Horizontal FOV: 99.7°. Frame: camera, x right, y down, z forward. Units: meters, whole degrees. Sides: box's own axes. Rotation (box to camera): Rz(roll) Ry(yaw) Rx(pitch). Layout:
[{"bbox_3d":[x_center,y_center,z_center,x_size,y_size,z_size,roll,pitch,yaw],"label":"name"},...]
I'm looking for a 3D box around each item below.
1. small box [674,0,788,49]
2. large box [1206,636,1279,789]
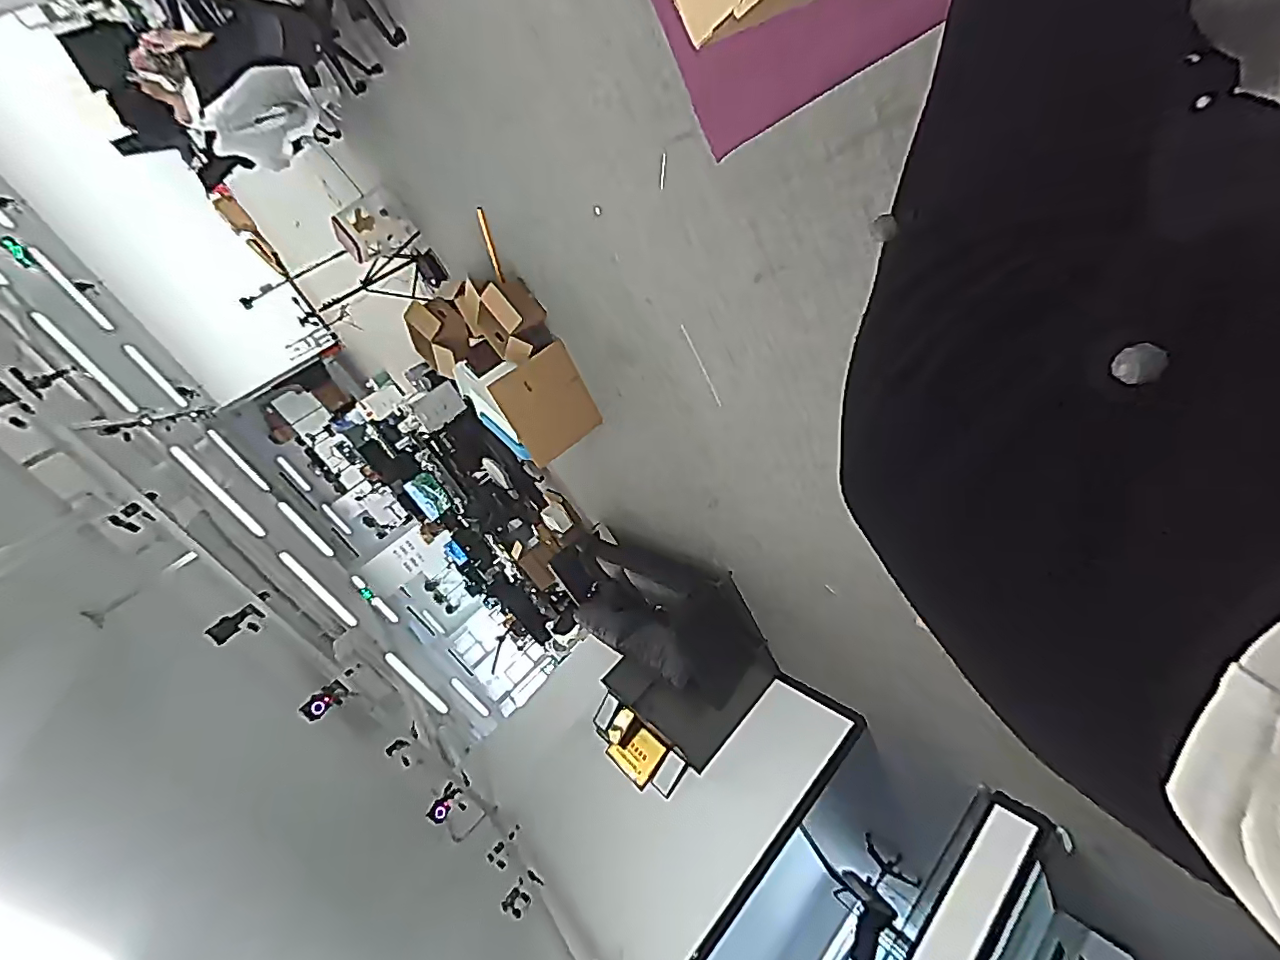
[{"bbox_3d":[0.117,-0.559,0.496,0.168,0.176,0.179,9,135,56],"label":"small box"},{"bbox_3d":[1.866,0.622,1.412,0.320,0.320,0.408,46,157,3],"label":"large box"}]
